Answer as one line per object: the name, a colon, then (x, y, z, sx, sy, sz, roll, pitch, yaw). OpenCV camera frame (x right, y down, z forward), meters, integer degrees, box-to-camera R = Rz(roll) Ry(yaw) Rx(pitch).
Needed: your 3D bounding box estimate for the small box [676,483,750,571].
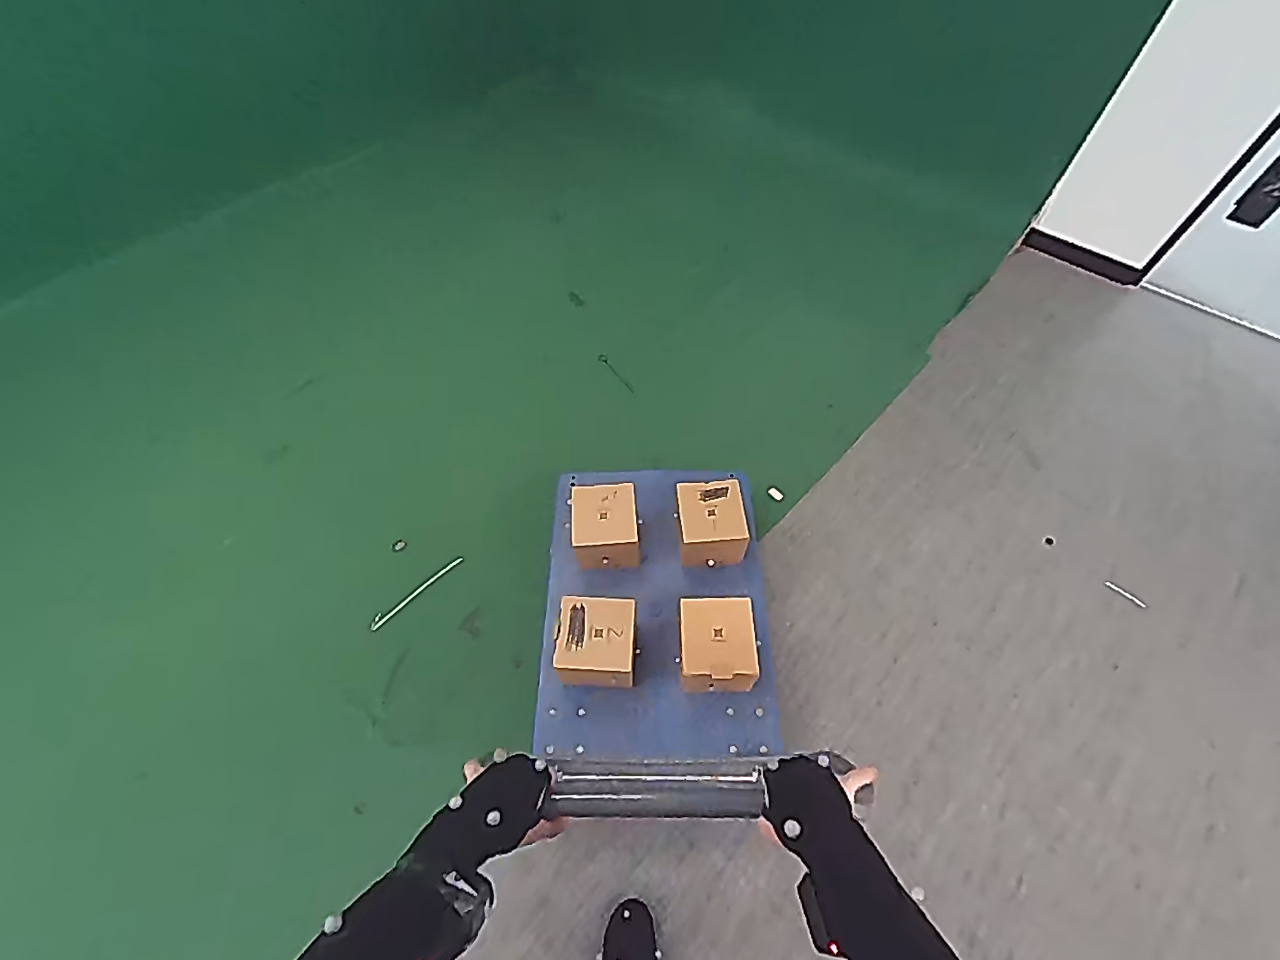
small box: (0.186, 0.127, 1.442, 0.168, 0.176, 0.179, -4, 58, -1)

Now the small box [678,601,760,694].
small box: (0.177, 0.396, 1.273, 0.168, 0.176, 0.179, -1, 58, 1)

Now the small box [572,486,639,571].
small box: (-0.090, 0.135, 1.441, 0.168, 0.176, 0.179, -3, 58, -2)
